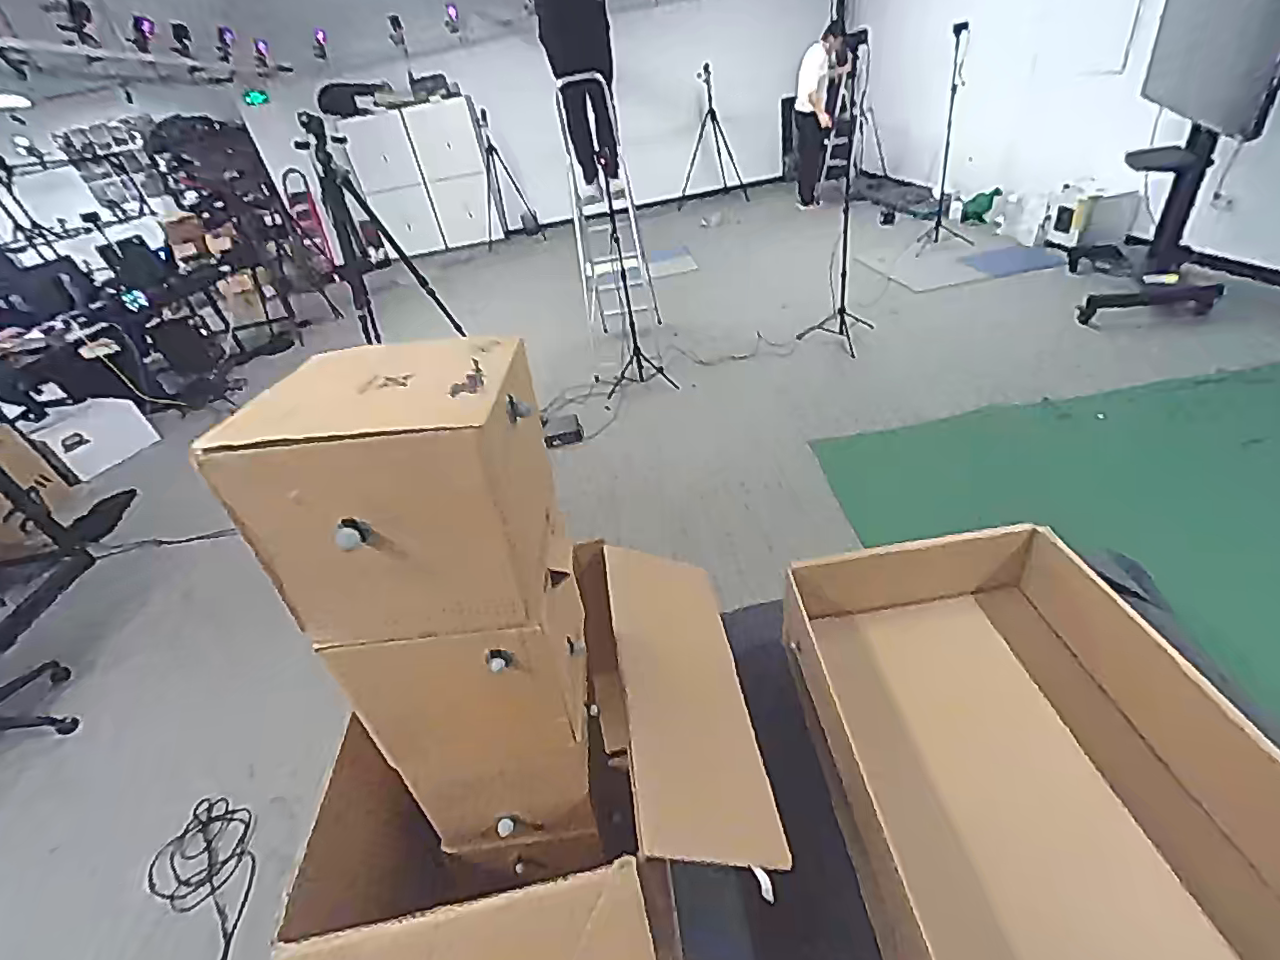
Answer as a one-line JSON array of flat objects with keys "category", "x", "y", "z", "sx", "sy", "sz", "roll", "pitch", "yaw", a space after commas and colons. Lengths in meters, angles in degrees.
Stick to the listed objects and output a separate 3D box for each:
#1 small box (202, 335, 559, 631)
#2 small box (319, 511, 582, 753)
[{"category": "small box", "x": -0.171, "y": 0.001, "z": 0.427, "sx": 0.179, "sy": 0.176, "sz": 0.168, "roll": -6, "pitch": 35, "yaw": 1}, {"category": "small box", "x": -0.156, "y": 0.138, "z": 0.518, "sx": 0.179, "sy": 0.176, "sz": 0.168, "roll": -6, "pitch": 34, "yaw": -1}]
